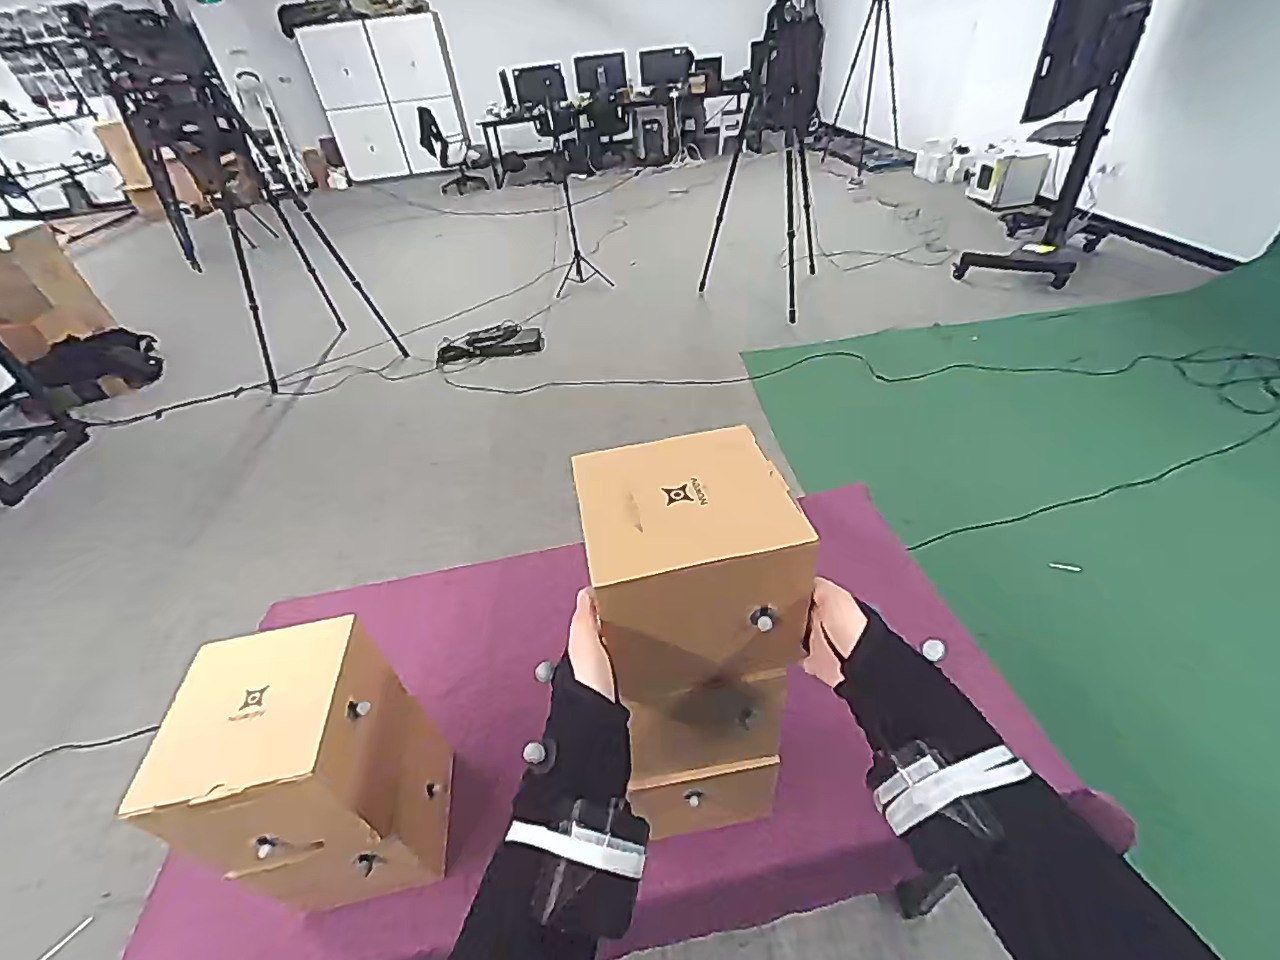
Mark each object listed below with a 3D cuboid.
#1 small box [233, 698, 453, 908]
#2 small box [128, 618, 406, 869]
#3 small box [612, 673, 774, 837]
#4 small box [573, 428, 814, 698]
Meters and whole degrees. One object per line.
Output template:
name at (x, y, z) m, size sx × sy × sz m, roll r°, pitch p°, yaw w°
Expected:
small box at (-0.353, 0.410, 0.689) m, size 0.179 × 0.176 × 0.168 m, roll -11°, pitch 39°, yaw -4°
small box at (-0.372, 0.283, 0.588) m, size 0.168 × 0.176 × 0.179 m, roll -11°, pitch 41°, yaw -4°
small box at (0.065, 0.339, 0.707) m, size 0.179 × 0.176 × 0.168 m, roll -9°, pitch 40°, yaw -3°
small box at (0.041, 0.077, 0.510) m, size 0.179 × 0.176 × 0.168 m, roll -11°, pitch 39°, yaw -4°
